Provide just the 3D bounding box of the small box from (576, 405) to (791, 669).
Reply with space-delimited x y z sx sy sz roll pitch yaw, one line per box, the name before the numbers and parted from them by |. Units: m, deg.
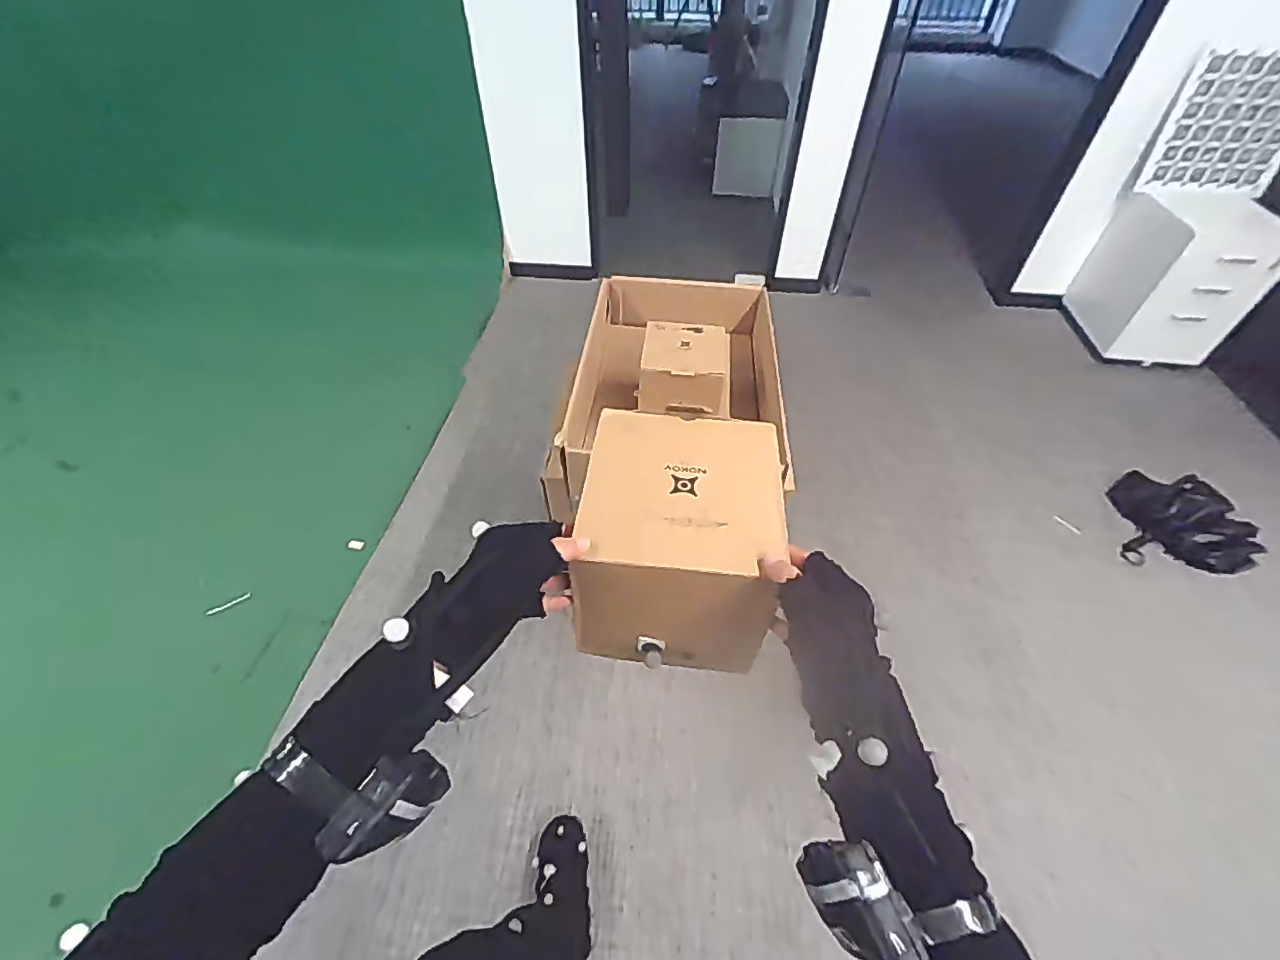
small box | 0.037 0.054 0.515 0.168 0.176 0.179 6 47 3
